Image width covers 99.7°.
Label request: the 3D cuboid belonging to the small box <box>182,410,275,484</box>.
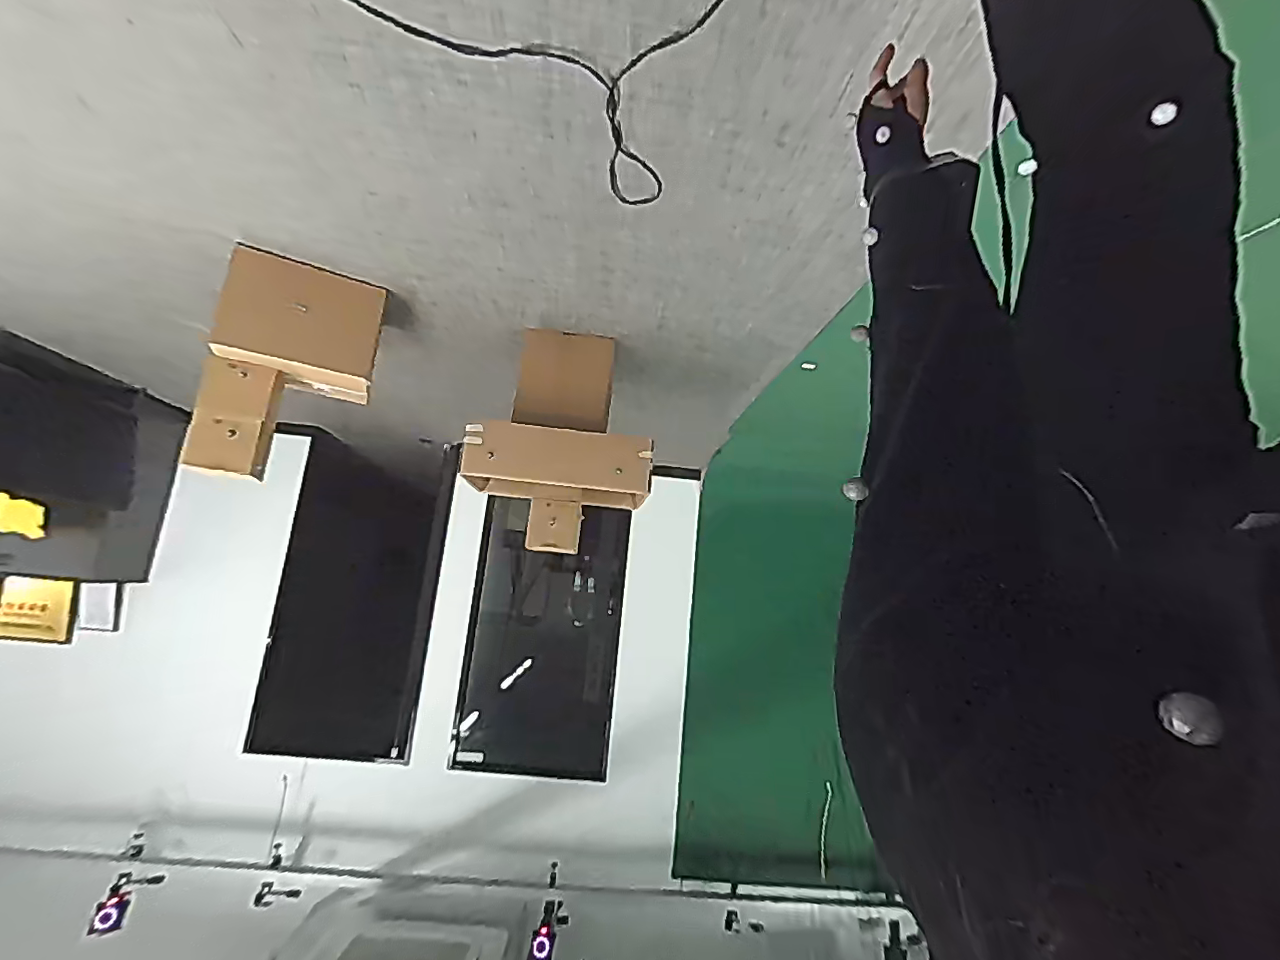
[{"bbox_3d":[-1.220,-0.096,1.618,0.168,0.176,0.179,12,166,-23],"label":"small box"}]

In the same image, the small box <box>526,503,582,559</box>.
[{"bbox_3d":[-0.296,0.180,1.893,0.168,0.176,0.179,7,166,-1],"label":"small box"}]

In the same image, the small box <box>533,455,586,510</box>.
[{"bbox_3d":[-0.283,0.021,1.930,0.168,0.176,0.179,6,167,-4],"label":"small box"}]
